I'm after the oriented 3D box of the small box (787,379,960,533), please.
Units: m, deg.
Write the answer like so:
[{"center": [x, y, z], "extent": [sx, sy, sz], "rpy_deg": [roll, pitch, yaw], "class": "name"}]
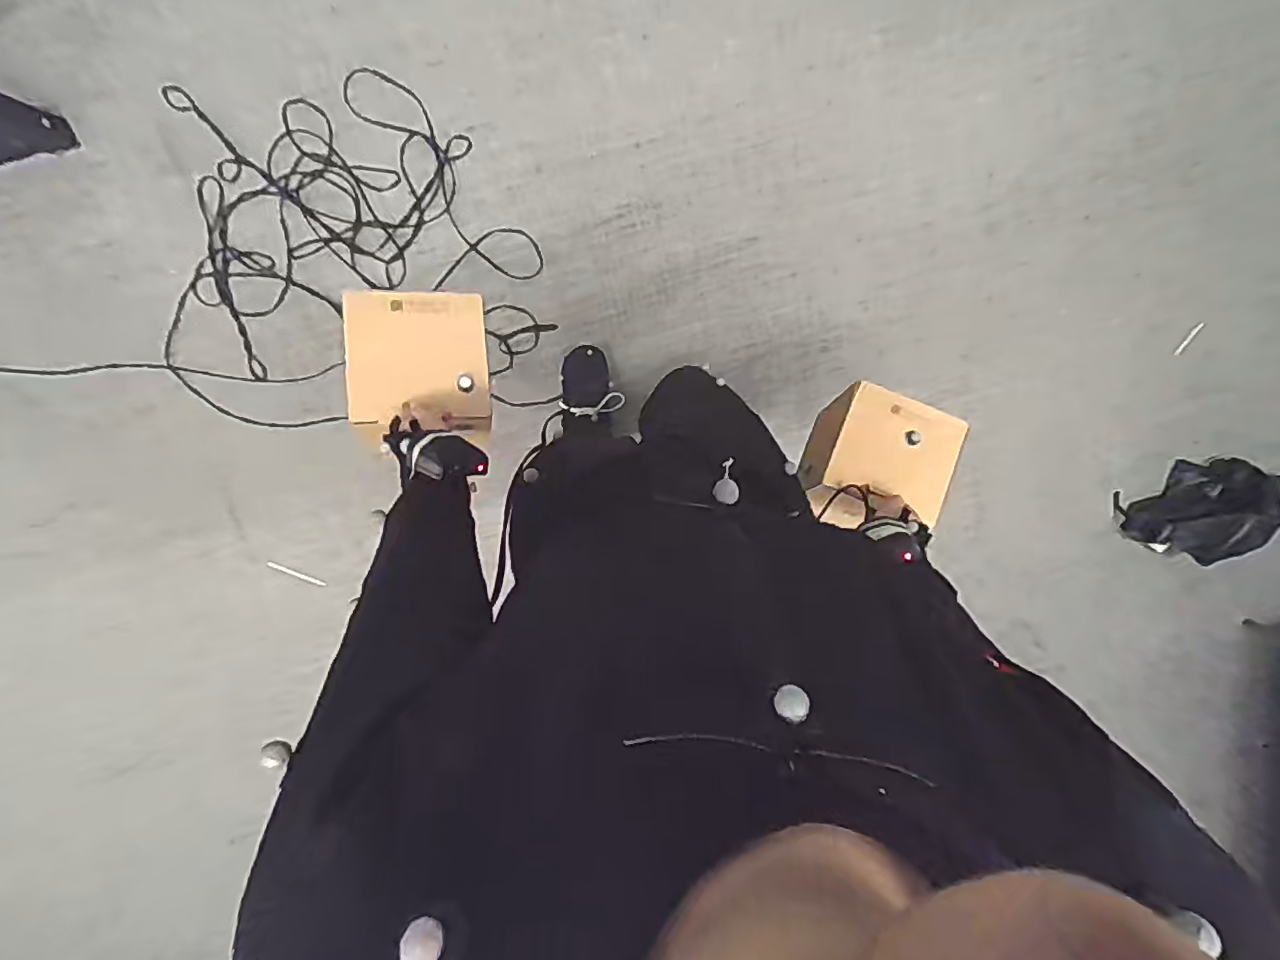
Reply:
[{"center": [0.351, -0.030, 0.827], "extent": [0.168, 0.179, 0.176], "rpy_deg": [22, 82, 3], "class": "small box"}]
